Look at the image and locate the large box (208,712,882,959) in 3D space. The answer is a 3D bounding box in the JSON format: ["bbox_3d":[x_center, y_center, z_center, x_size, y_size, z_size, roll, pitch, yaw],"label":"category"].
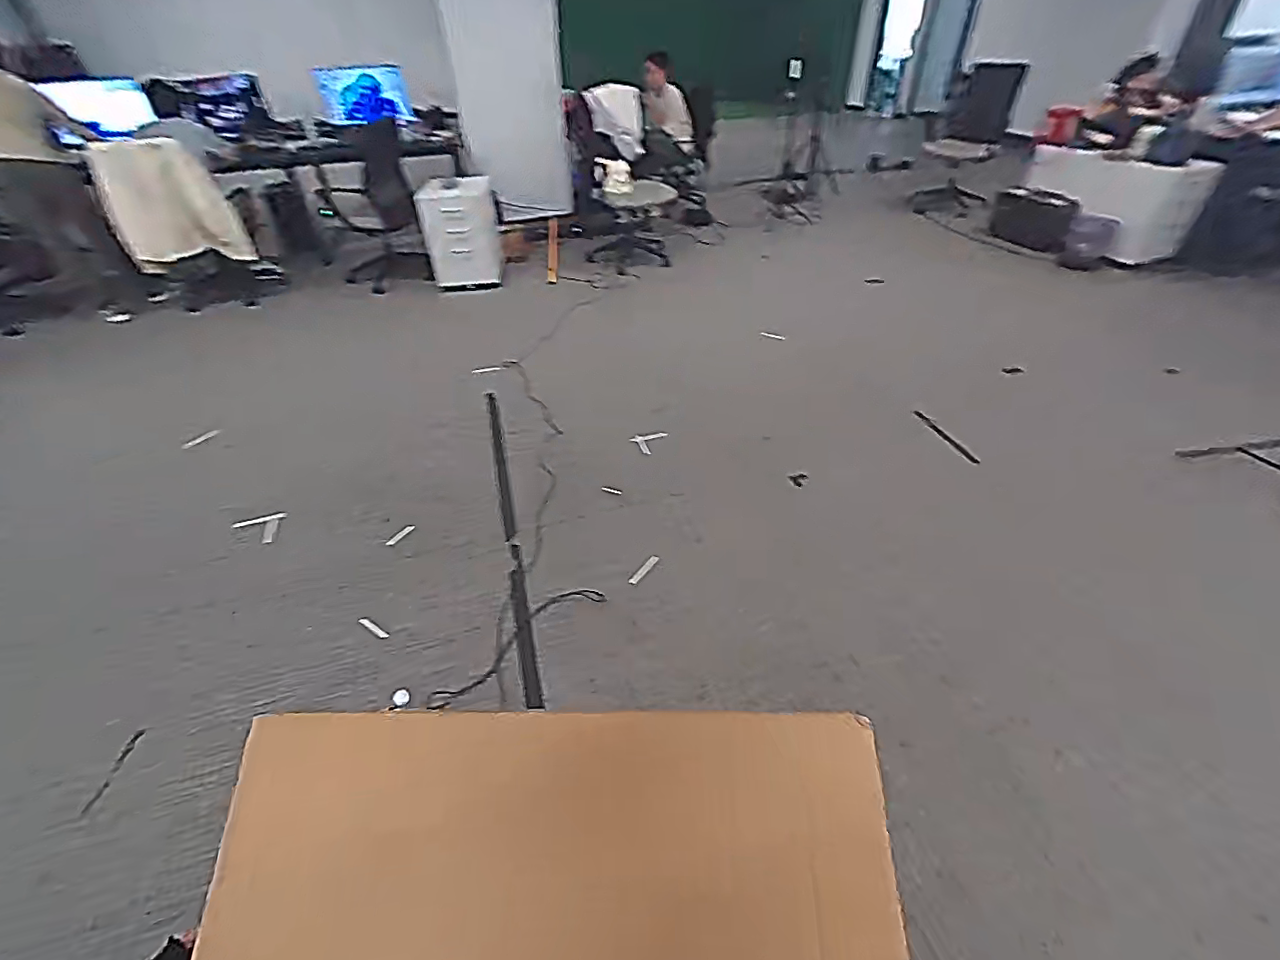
[{"bbox_3d":[-0.056,0.363,0.441,0.408,0.320,0.320,-1,67,1],"label":"large box"}]
